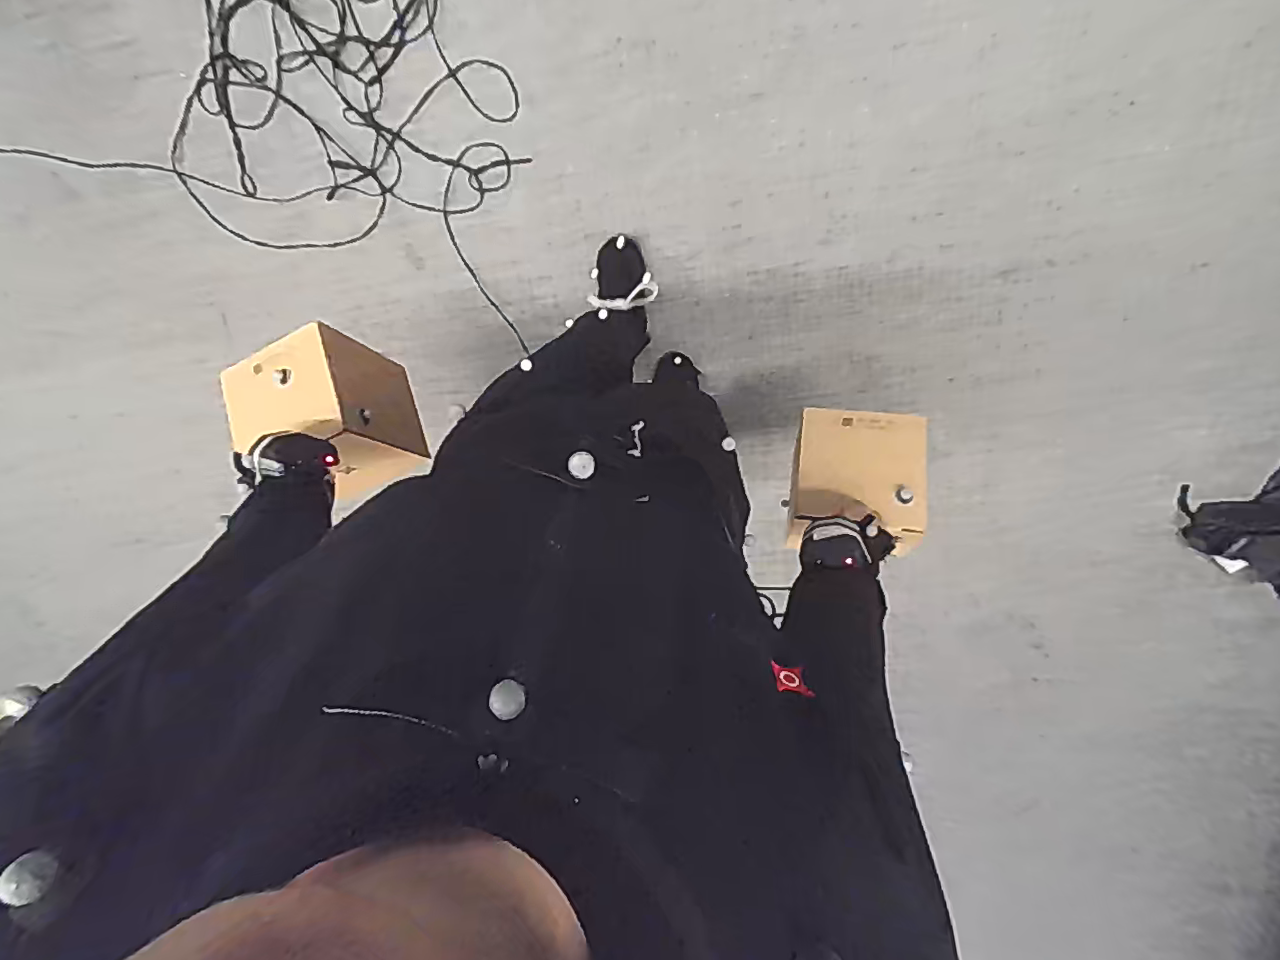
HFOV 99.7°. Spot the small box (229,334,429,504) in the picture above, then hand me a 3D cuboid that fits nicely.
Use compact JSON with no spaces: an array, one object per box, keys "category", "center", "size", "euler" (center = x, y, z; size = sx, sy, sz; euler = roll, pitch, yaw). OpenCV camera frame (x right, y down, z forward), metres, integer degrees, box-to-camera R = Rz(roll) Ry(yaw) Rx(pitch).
[{"category":"small box","center":[-0.442,-0.081,0.780],"size":[0.168,0.179,0.176],"euler":[-24,75,10]}]
